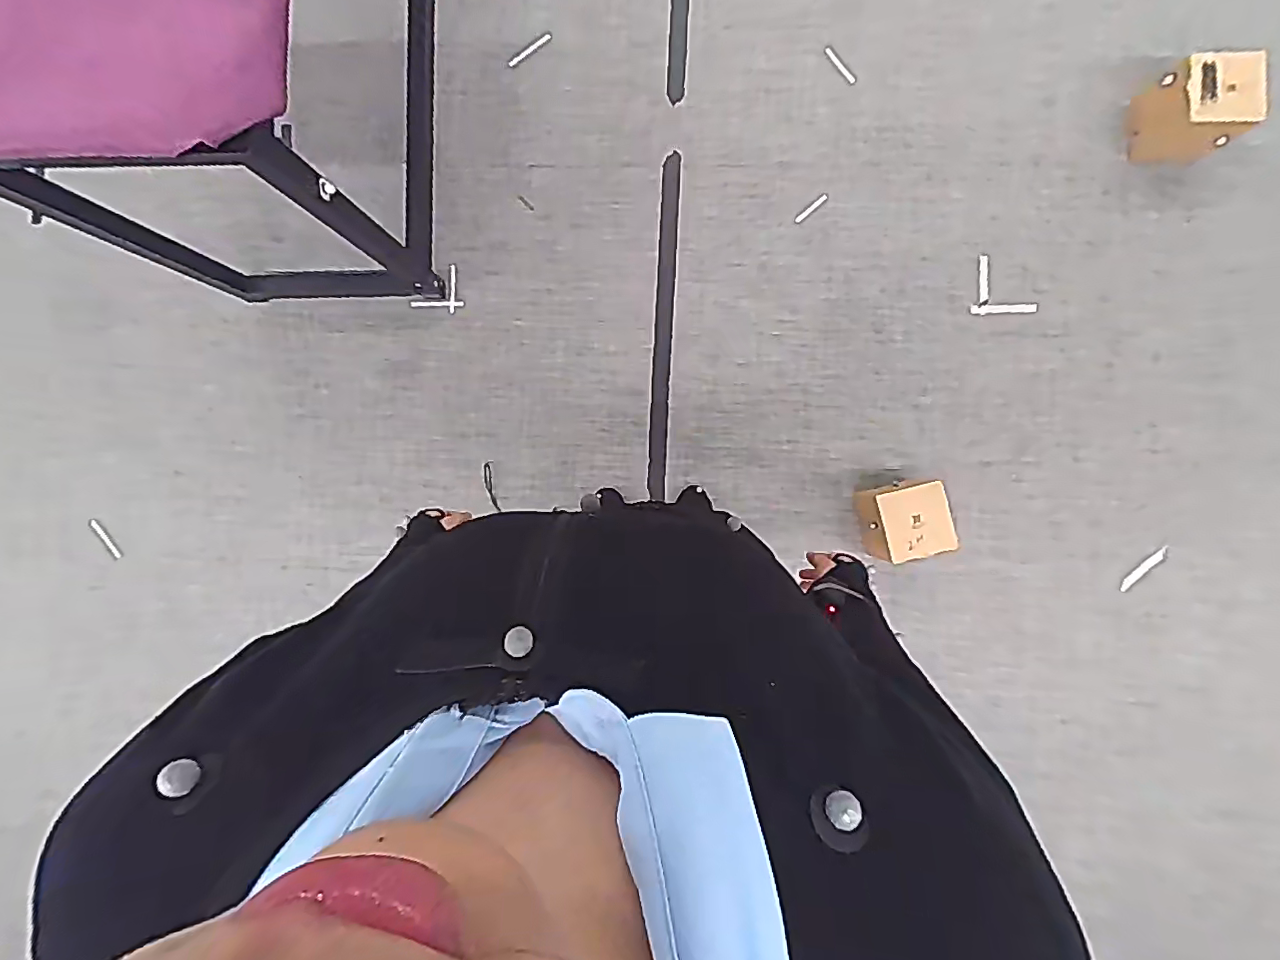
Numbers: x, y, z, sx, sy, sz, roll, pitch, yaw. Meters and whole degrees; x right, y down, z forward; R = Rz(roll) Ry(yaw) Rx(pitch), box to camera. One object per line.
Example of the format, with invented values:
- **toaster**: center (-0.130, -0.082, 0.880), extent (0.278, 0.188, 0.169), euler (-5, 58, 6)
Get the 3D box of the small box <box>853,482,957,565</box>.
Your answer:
- **small box**: center (0.672, 0.108, 1.392), extent (0.168, 0.176, 0.179), euler (-14, 90, 2)
